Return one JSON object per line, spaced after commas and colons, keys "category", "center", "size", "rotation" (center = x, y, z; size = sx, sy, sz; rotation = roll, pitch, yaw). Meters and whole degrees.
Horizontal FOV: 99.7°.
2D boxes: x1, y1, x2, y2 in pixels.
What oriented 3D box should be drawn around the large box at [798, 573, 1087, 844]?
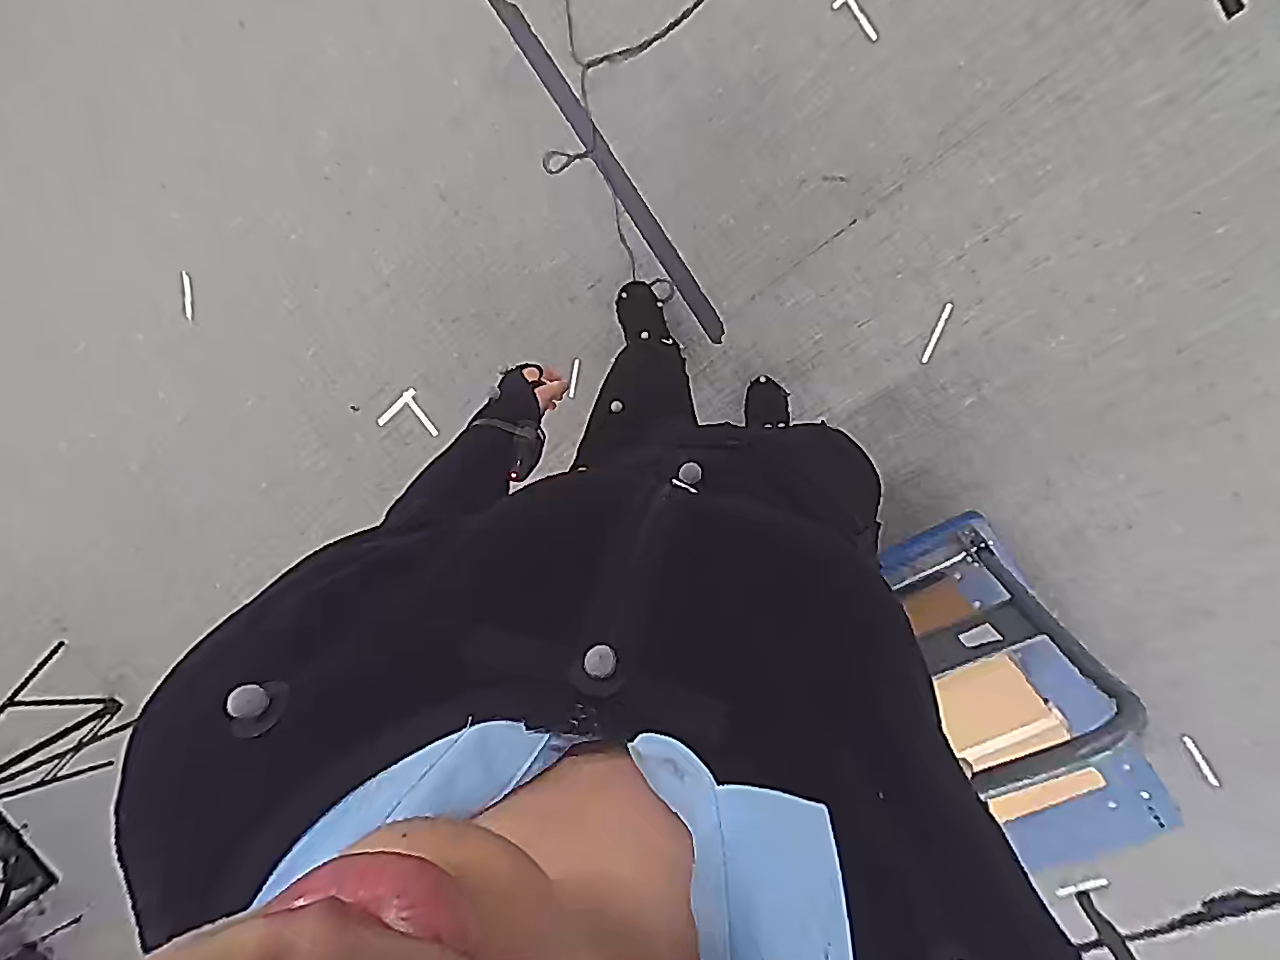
{"category": "large box", "center": [0.599, 0.473, 1.163], "size": [0.408, 0.320, 0.320], "rotation": [-38, 92, 21]}
